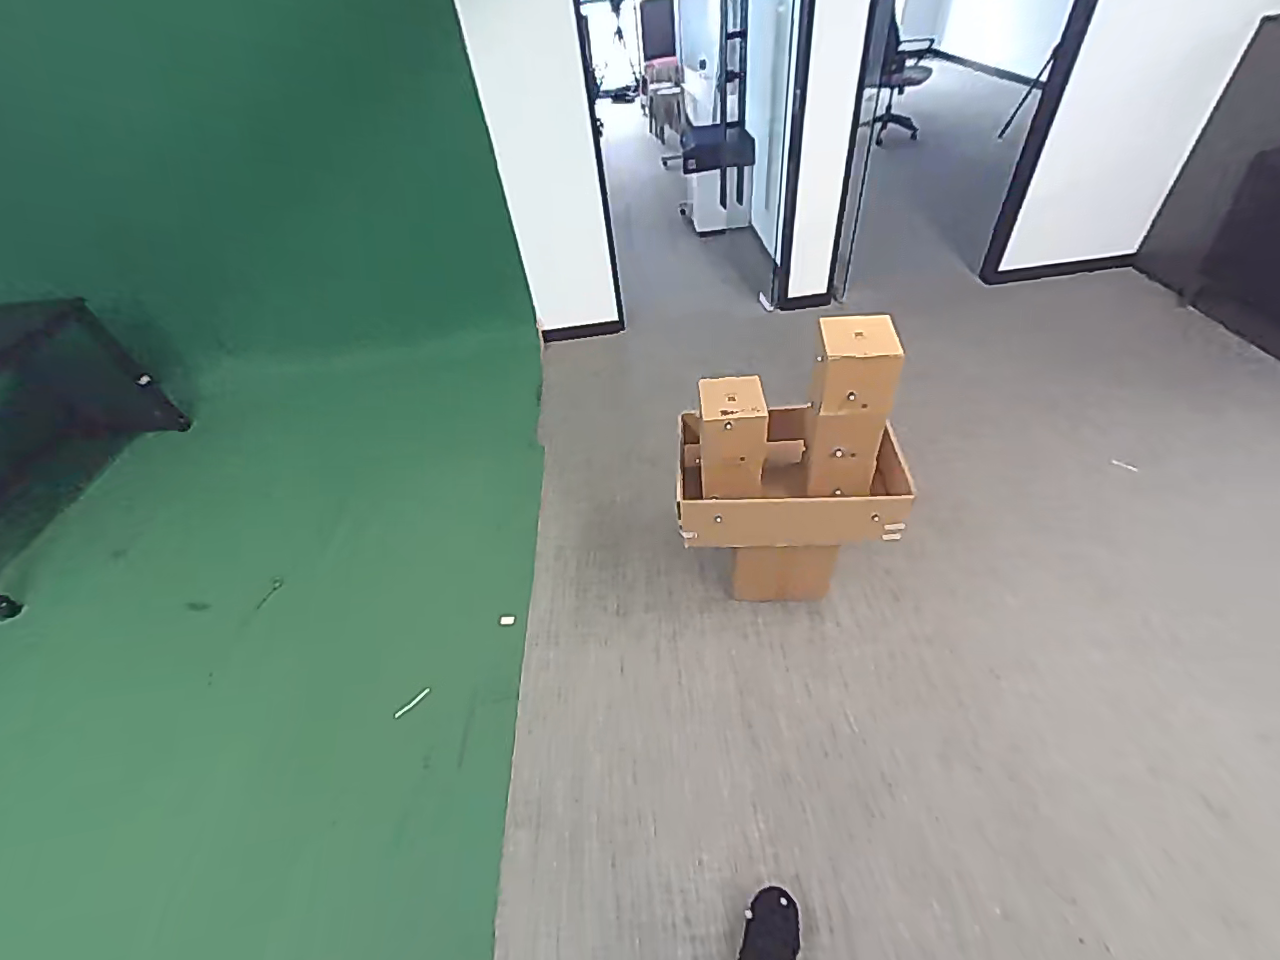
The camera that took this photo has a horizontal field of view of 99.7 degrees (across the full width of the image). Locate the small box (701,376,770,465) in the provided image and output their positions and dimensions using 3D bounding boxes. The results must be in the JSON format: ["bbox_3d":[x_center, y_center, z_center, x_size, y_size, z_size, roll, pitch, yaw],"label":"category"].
[{"bbox_3d":[0.251,-0.160,1.461,0.168,0.176,0.179,-4,45,5],"label":"small box"}]

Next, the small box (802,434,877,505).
[{"bbox_3d":[0.561,-0.050,1.542,0.168,0.176,0.179,1,46,9],"label":"small box"}]

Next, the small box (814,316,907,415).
[{"bbox_3d":[0.525,-0.278,1.314,0.168,0.176,0.179,0,46,9],"label":"small box"}]

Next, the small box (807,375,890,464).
[{"bbox_3d":[0.540,-0.163,1.427,0.168,0.176,0.179,1,46,9],"label":"small box"}]
